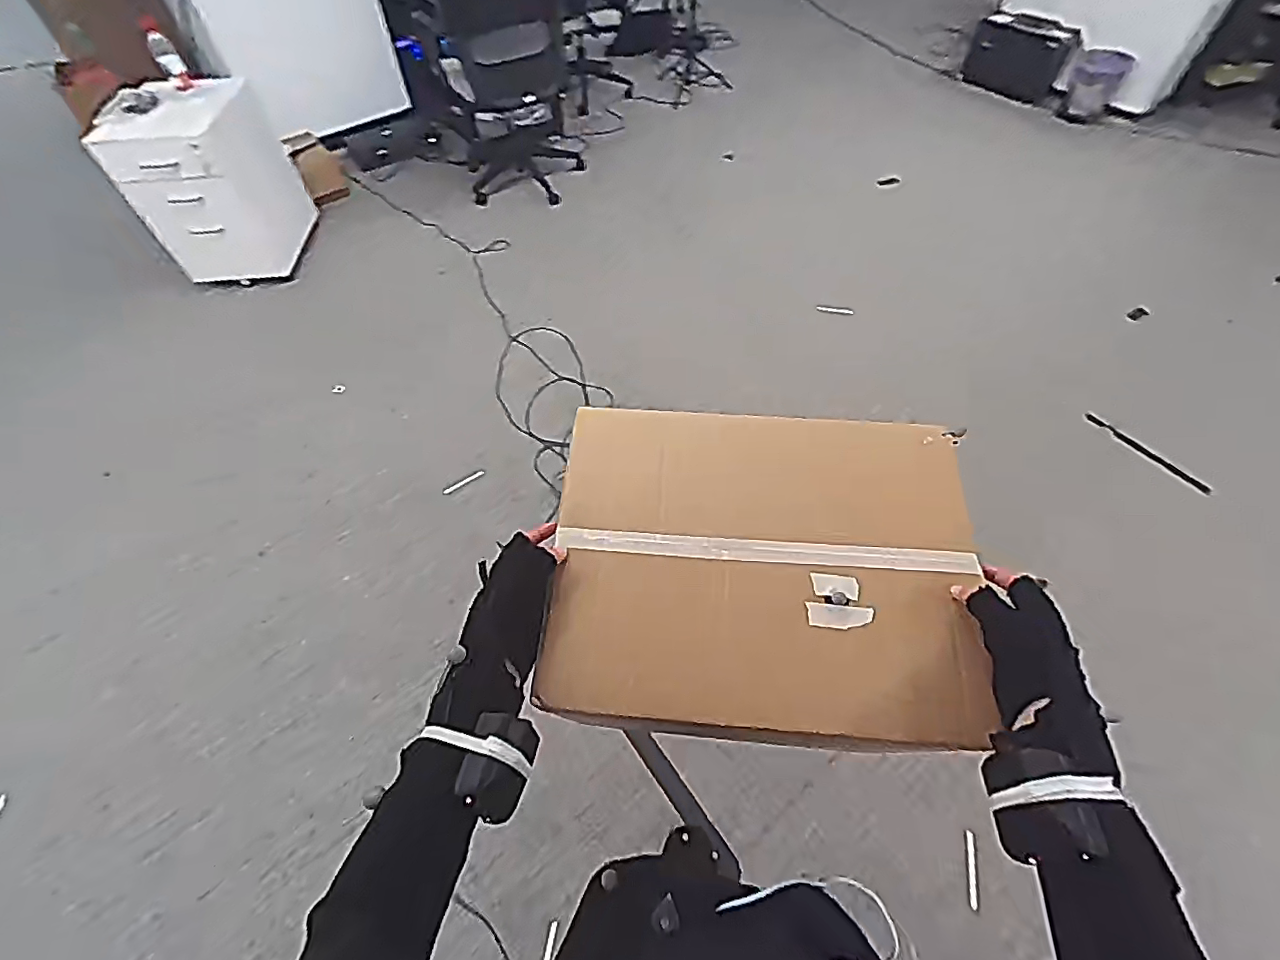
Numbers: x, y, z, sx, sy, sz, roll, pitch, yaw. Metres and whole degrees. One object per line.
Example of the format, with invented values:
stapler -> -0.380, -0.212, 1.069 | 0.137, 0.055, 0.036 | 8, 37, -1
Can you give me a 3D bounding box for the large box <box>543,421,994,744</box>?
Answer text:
large box -> 0.120, 0.143, 0.673 | 0.408, 0.320, 0.320 | 3, 64, 3
